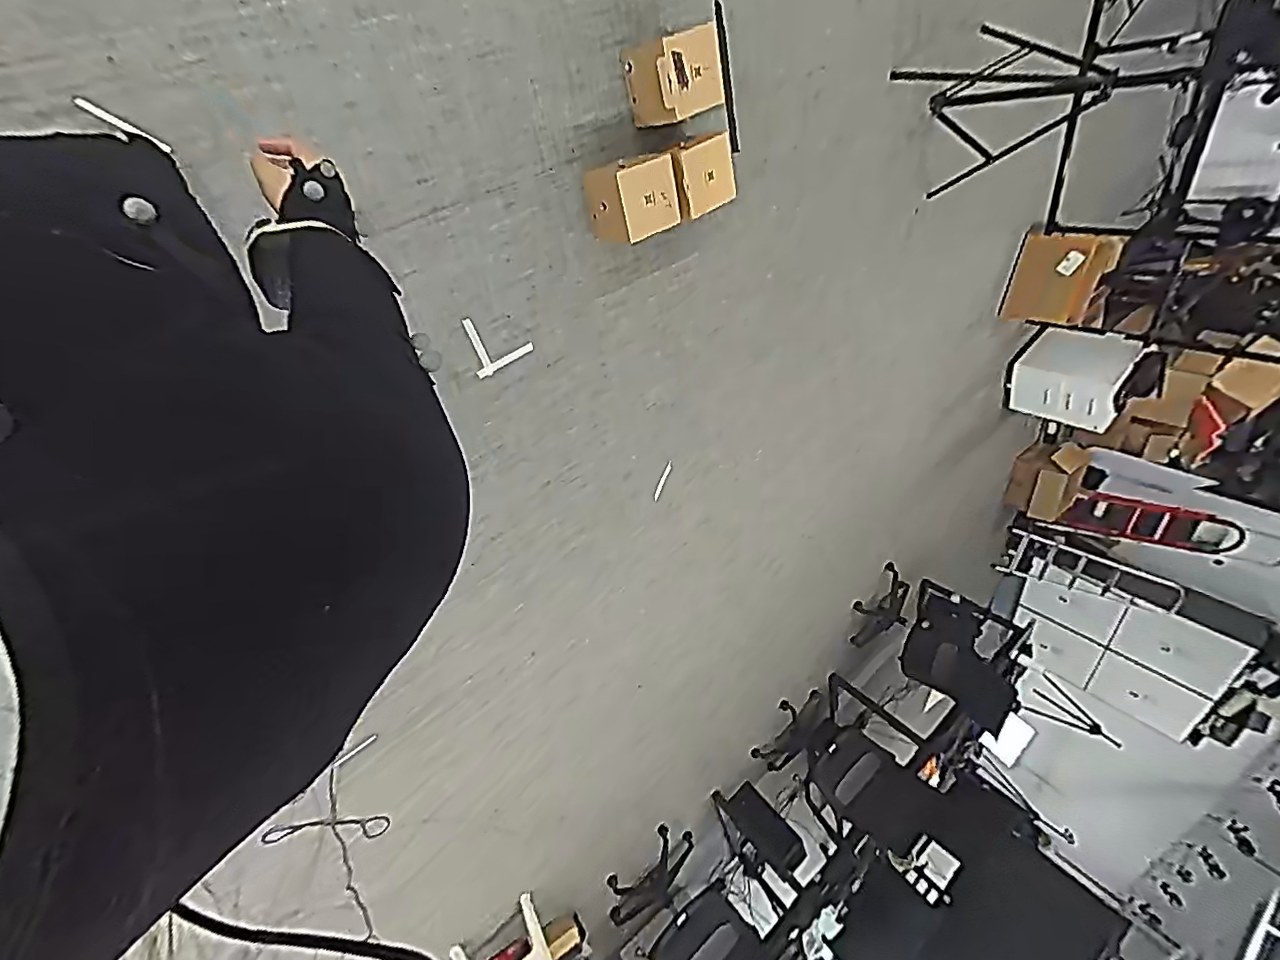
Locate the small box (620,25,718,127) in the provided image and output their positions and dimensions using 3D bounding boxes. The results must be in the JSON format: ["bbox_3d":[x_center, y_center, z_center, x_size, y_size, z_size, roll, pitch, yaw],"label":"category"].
[{"bbox_3d":[0.068,-1.015,1.368,0.179,0.176,0.168,-36,132,-22],"label":"small box"}]
